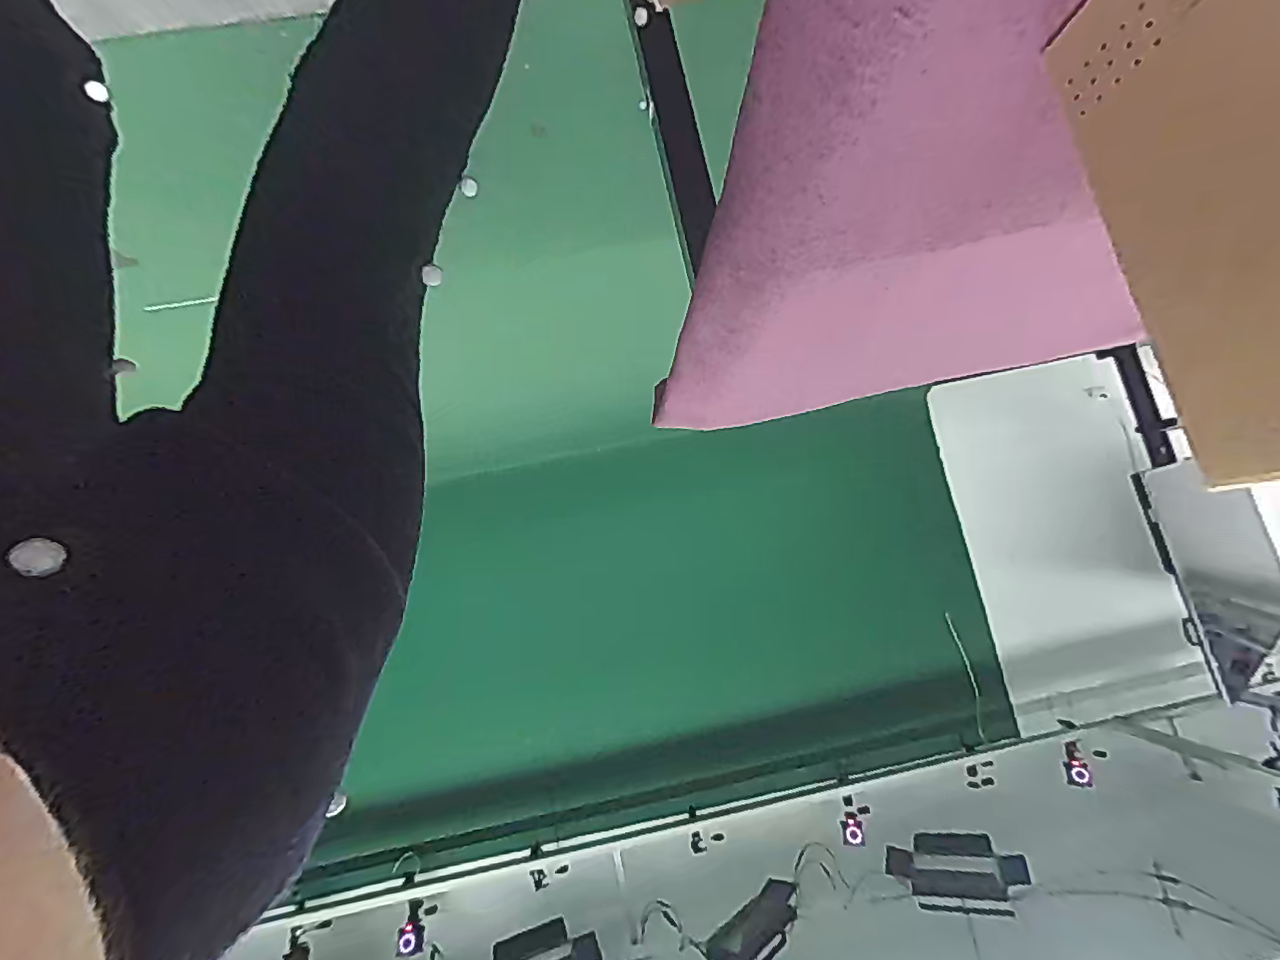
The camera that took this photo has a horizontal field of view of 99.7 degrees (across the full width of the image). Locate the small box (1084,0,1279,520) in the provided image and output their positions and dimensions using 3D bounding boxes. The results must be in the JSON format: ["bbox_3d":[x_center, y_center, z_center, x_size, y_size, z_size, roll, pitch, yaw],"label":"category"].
[{"bbox_3d":[0.251,-0.097,0.104,0.179,0.176,0.168,-12,171,-4],"label":"small box"}]
